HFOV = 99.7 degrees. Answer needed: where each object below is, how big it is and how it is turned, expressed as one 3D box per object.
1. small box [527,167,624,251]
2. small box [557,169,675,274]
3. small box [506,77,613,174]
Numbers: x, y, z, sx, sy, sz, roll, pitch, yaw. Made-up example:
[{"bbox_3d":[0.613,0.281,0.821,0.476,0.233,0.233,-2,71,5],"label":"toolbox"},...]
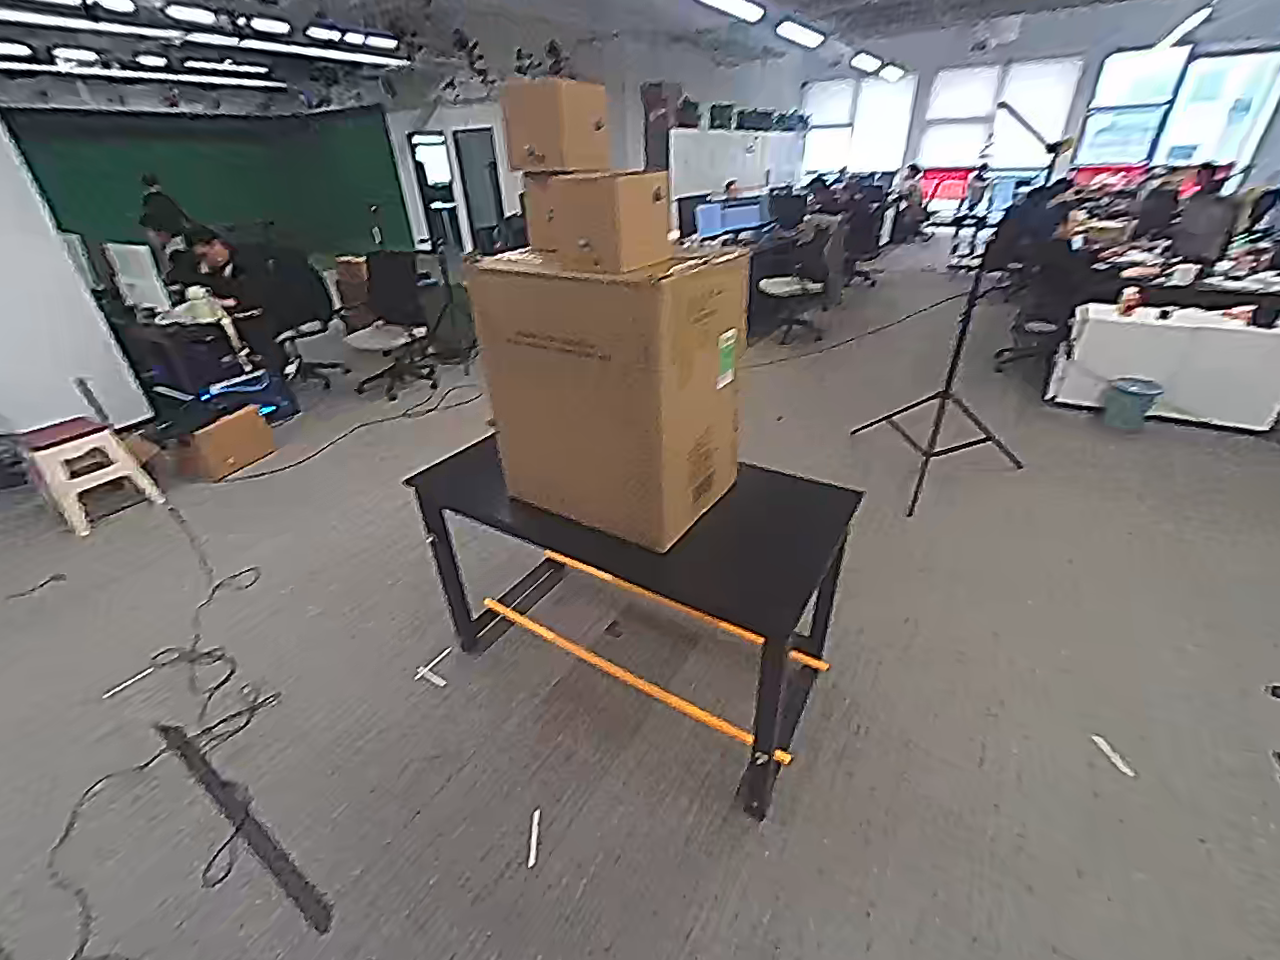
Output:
[{"bbox_3d":[-0.147,-0.658,1.315,0.168,0.176,0.179,18,36,28],"label":"small box"},{"bbox_3d":[-0.044,-0.523,1.086,0.168,0.176,0.179,18,37,32],"label":"small box"},{"bbox_3d":[-0.172,-0.784,1.208,0.168,0.176,0.179,15,35,27],"label":"small box"}]
